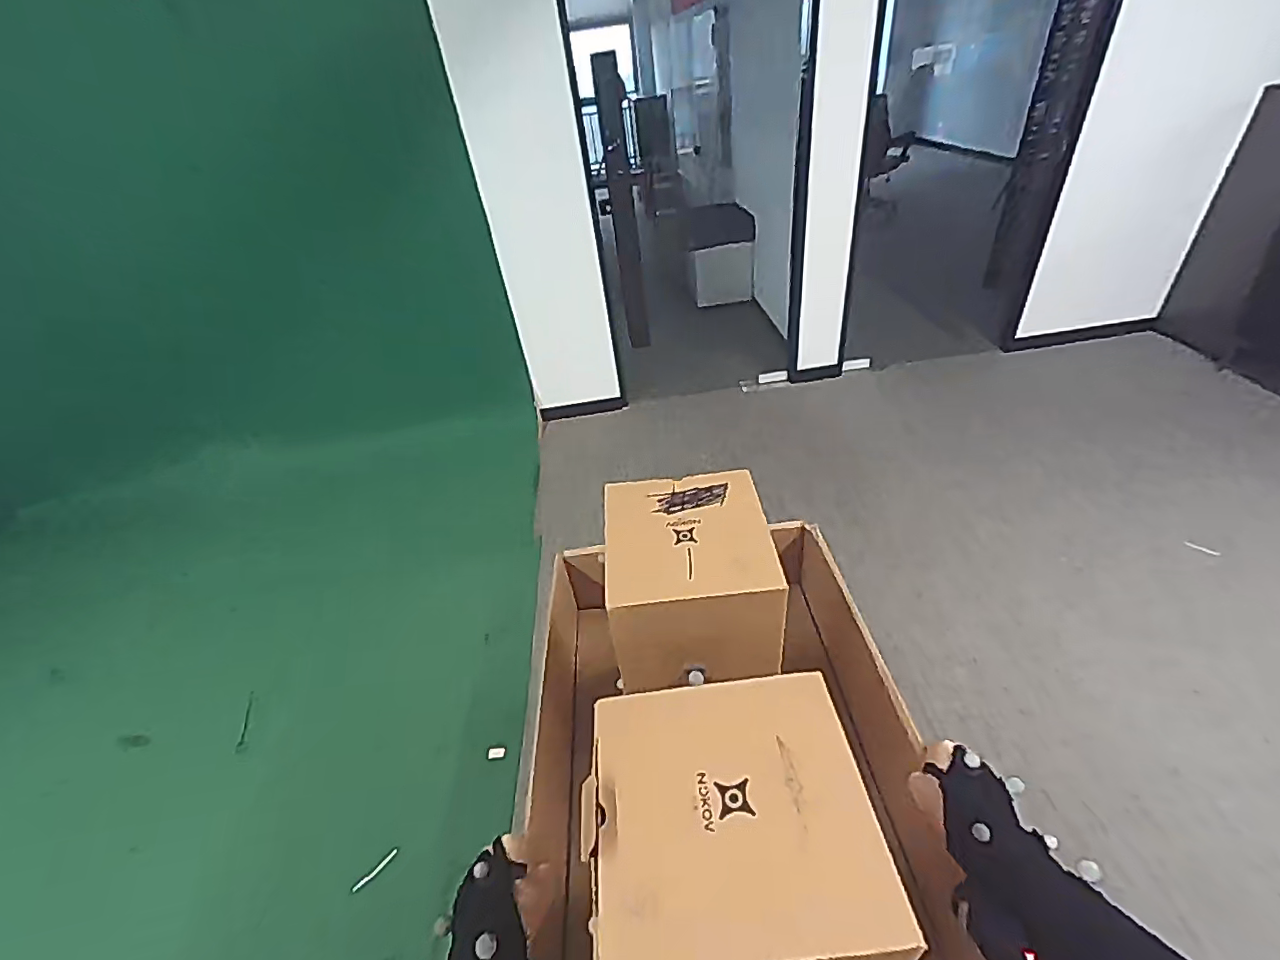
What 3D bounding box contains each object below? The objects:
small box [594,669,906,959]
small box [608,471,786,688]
[{"bbox_3d":[0.065,0.269,0.405,0.179,0.176,0.168,-6,38,0],"label":"small box"},{"bbox_3d":[0.056,0.113,0.604,0.168,0.176,0.179,-6,40,2],"label":"small box"}]
